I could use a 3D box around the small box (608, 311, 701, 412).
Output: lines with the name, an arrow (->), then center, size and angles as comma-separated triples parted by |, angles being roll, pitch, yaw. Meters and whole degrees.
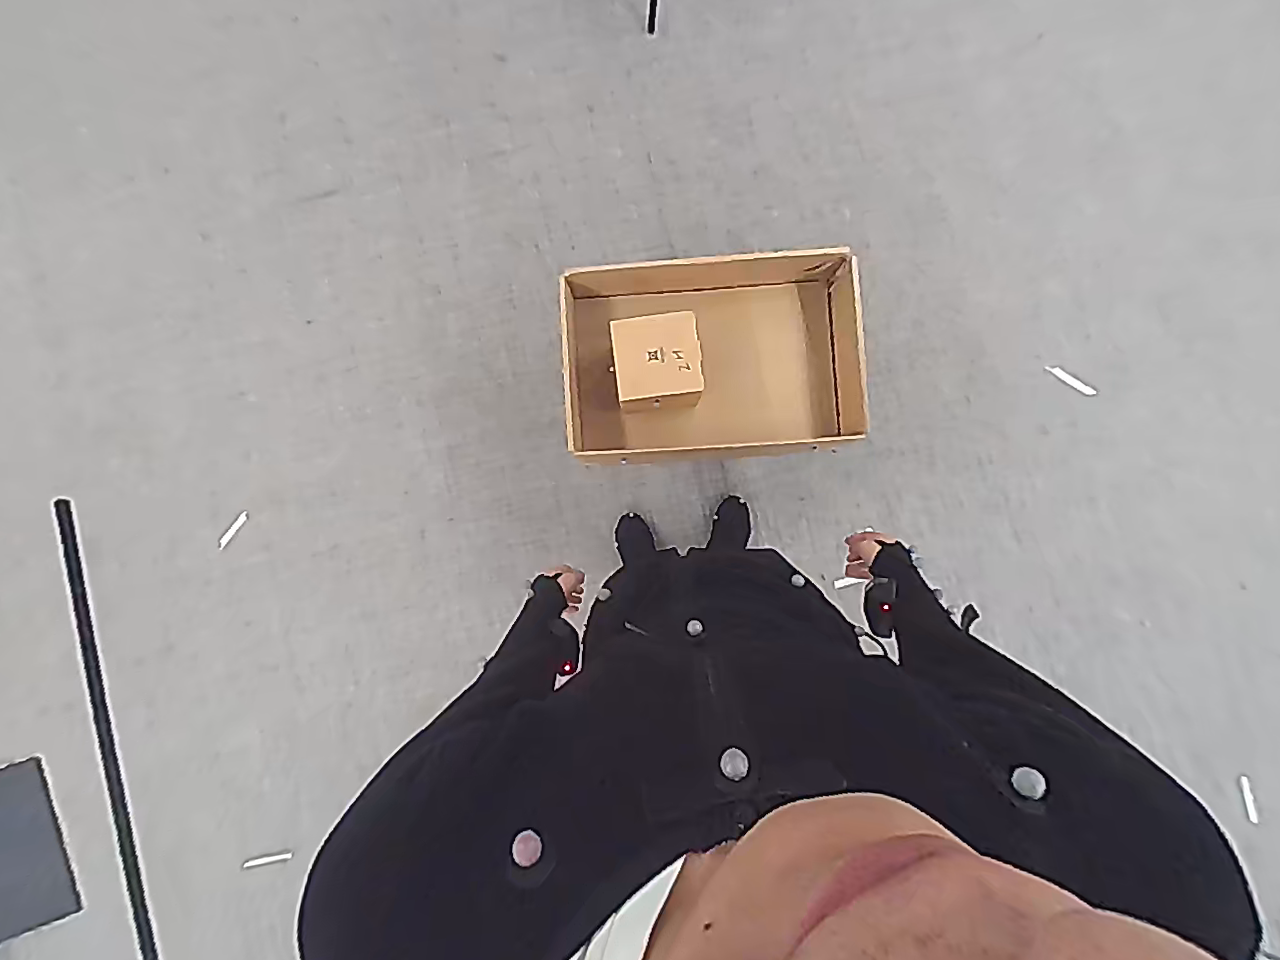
small box -> 0.031, -0.247, 1.162 | 0.179, 0.176, 0.168 | -7, 88, 0
